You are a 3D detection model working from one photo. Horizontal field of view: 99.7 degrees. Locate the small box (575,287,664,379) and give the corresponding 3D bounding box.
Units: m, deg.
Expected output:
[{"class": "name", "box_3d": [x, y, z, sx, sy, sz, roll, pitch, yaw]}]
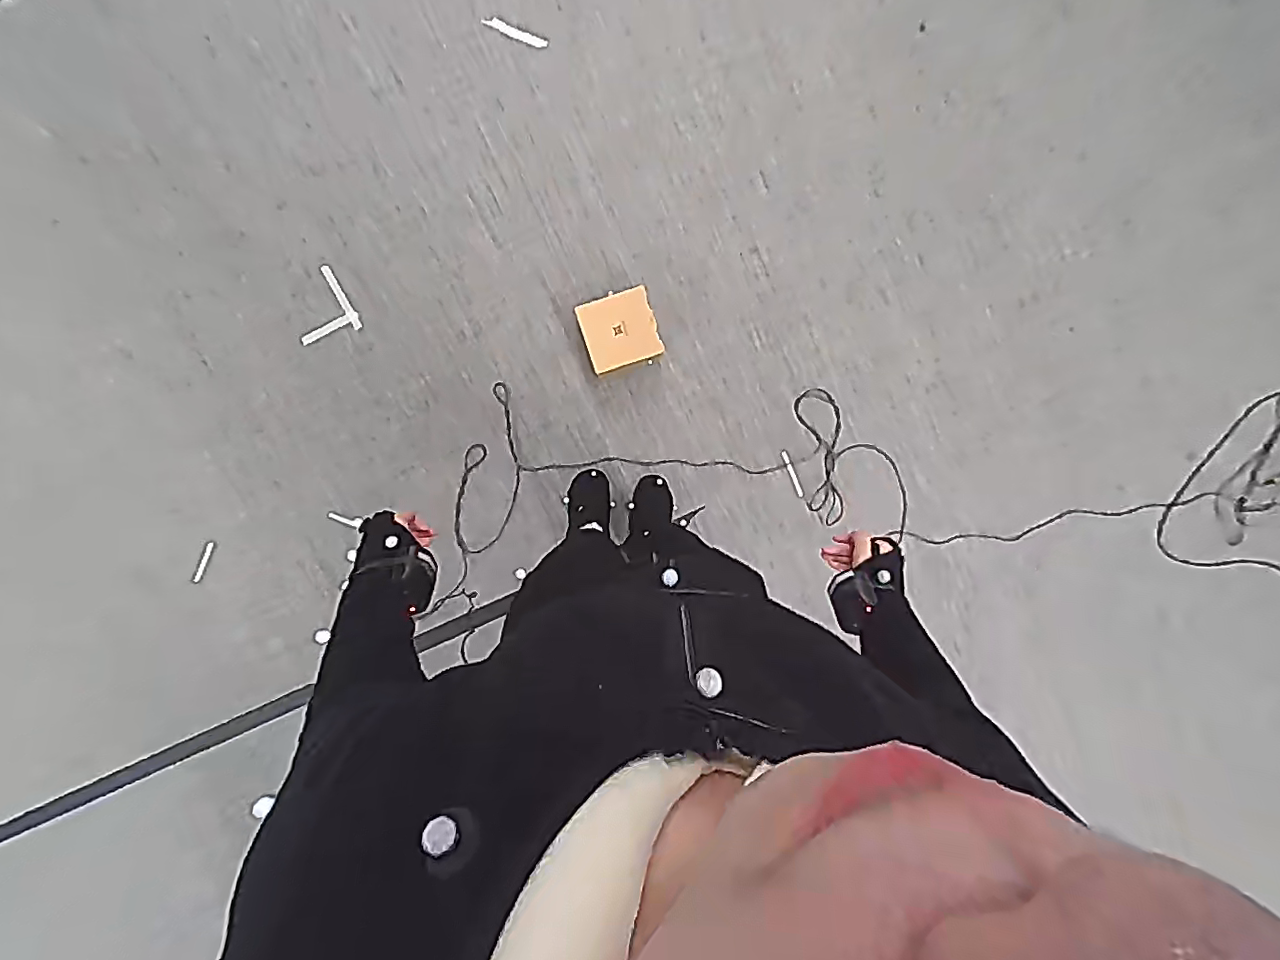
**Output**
[{"class": "small box", "box_3d": [-0.050, -0.361, 1.361, 0.179, 0.176, 0.168, -19, 97, -1]}]
